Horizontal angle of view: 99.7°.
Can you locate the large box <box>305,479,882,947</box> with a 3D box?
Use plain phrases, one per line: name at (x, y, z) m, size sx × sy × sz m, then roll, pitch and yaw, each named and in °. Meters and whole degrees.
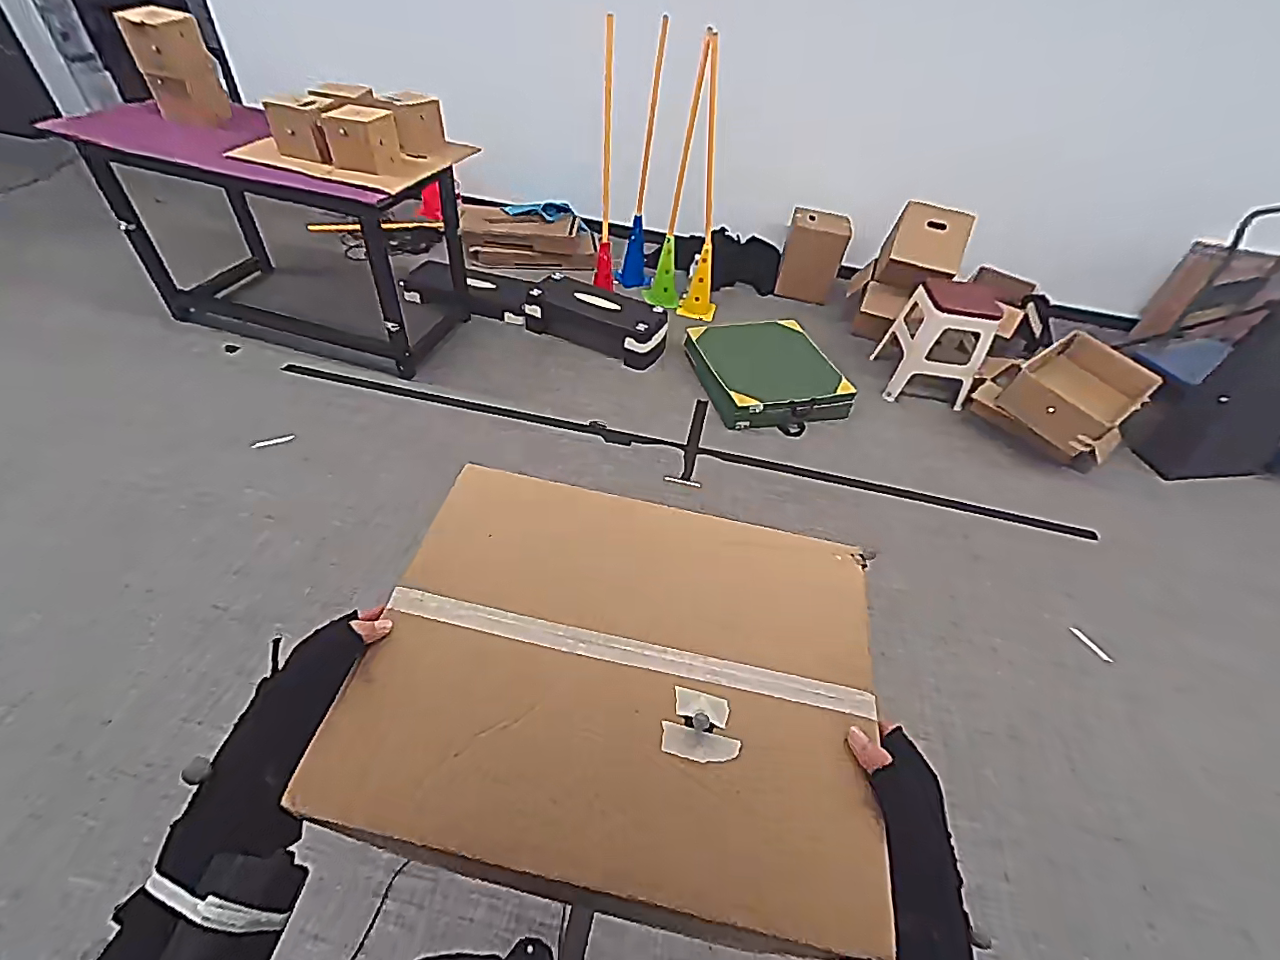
large box at (-0.025, 0.243, 0.566) m, size 0.408 × 0.320 × 0.320 m, roll 12°, pitch 51°, yaw 3°
